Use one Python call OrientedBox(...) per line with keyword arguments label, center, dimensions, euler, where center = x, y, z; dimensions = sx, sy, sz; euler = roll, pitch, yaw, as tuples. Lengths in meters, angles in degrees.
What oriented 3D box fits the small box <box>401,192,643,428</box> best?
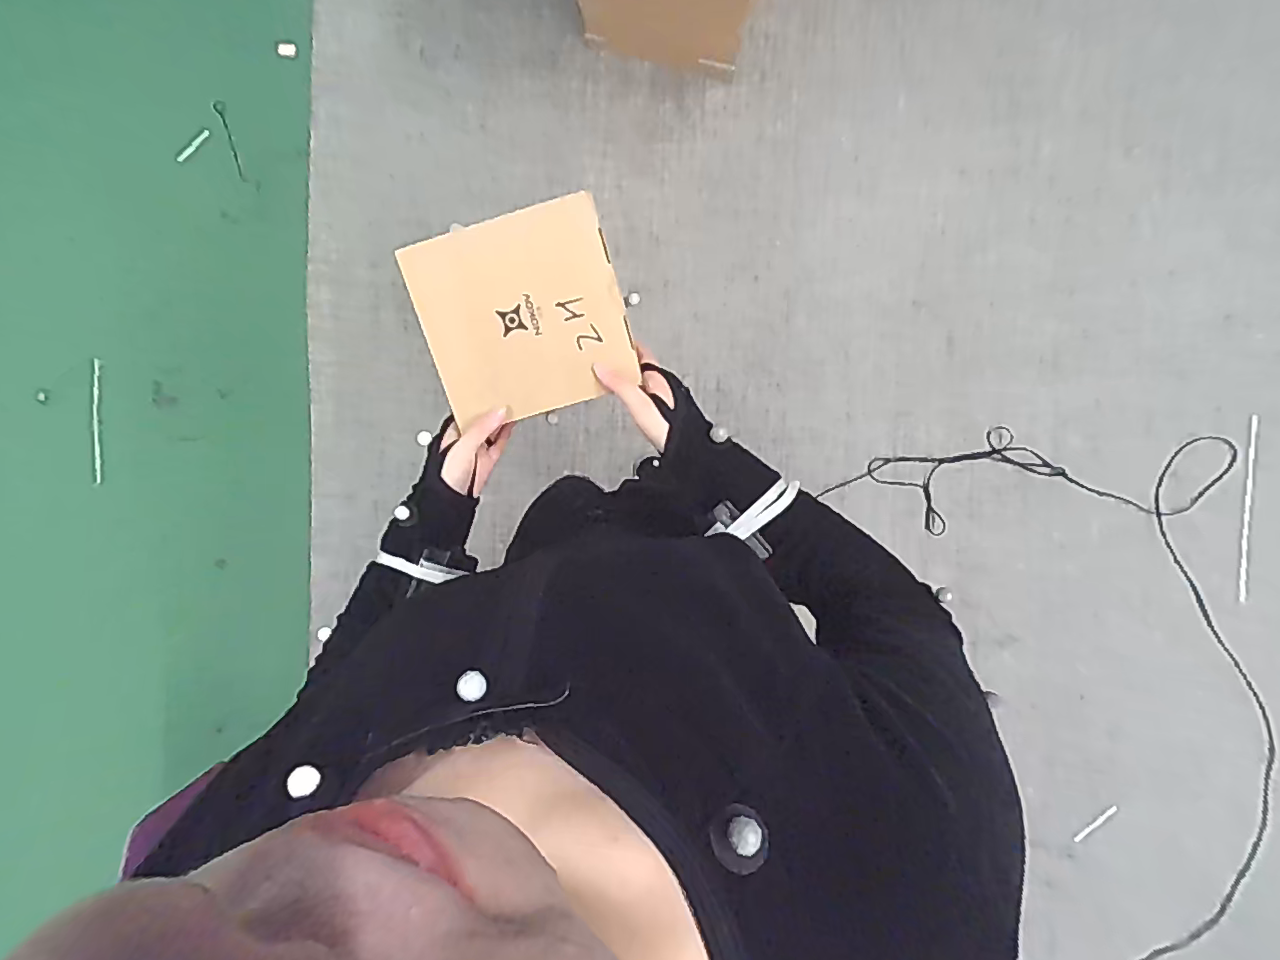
OrientedBox(label="small box", center=(-0.101, -0.161, 0.550), dimensions=(0.179, 0.176, 0.168), euler=(-15, 103, 5))
